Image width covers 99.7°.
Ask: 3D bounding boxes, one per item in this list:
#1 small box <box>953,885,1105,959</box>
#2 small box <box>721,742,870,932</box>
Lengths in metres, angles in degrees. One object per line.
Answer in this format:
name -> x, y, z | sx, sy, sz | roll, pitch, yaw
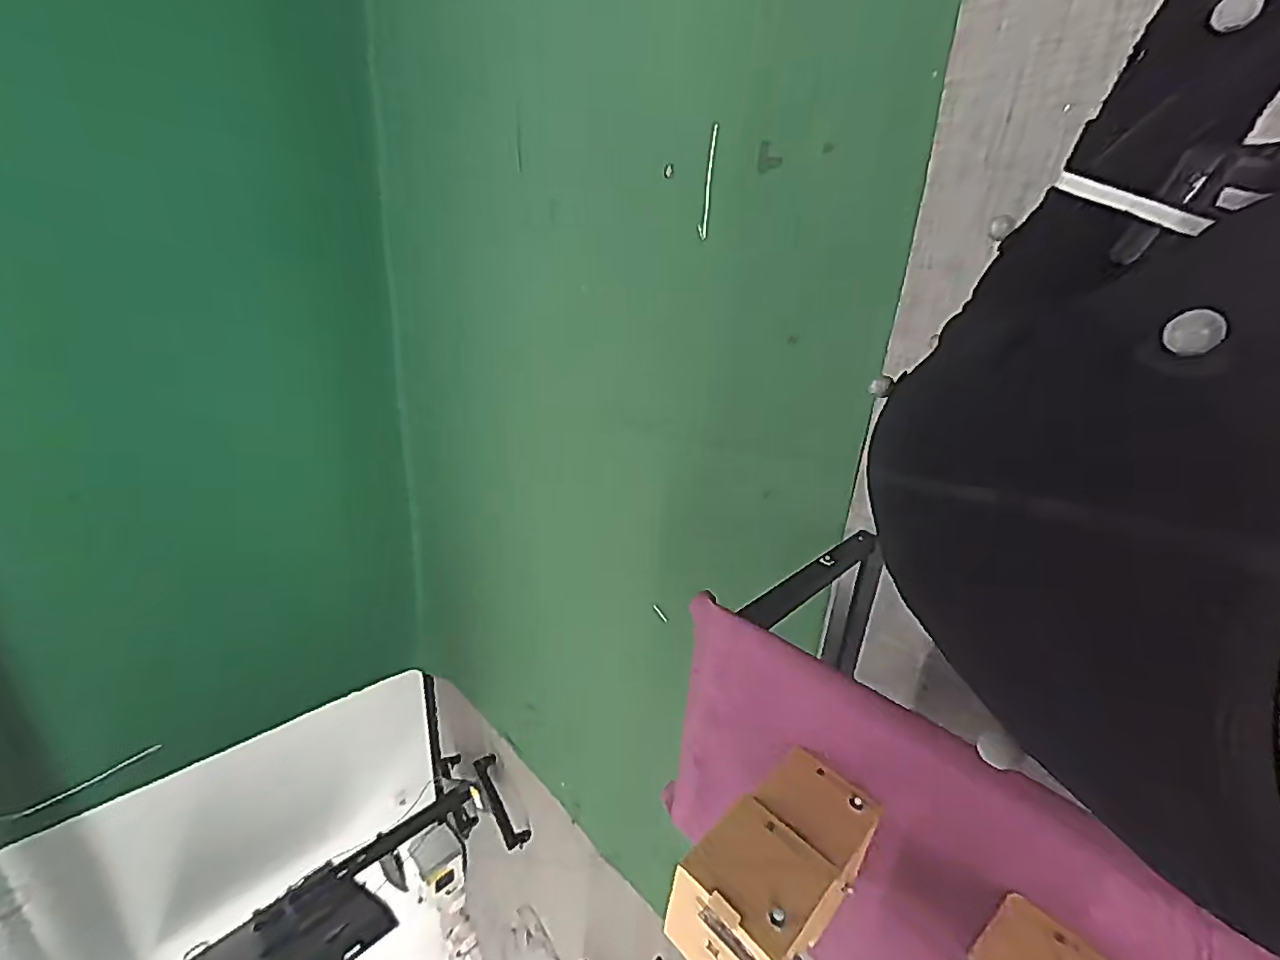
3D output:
small box -> 0.514, 0.698, 0.712 | 0.168, 0.176, 0.179 | 28, 121, 37
small box -> 0.269, 0.596, 0.927 | 0.168, 0.176, 0.179 | 30, 122, 38
